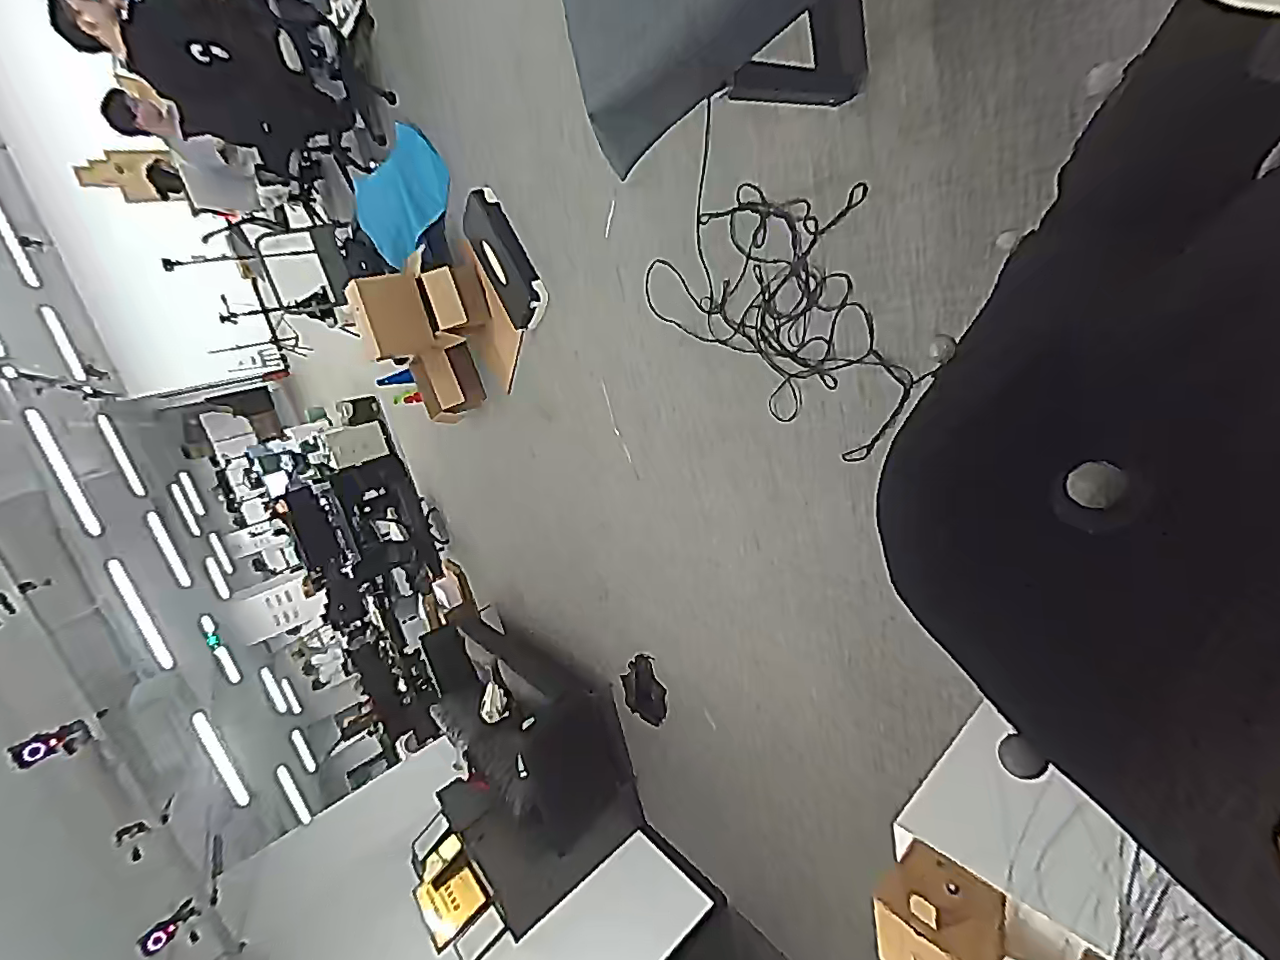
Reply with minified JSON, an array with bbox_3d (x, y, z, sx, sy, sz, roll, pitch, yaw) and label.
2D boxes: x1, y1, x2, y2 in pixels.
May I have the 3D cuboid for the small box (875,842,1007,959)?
[{"bbox_3d":[0.568,0.845,1.017,0.168,0.176,0.179,11,119,51],"label":"small box"}]
